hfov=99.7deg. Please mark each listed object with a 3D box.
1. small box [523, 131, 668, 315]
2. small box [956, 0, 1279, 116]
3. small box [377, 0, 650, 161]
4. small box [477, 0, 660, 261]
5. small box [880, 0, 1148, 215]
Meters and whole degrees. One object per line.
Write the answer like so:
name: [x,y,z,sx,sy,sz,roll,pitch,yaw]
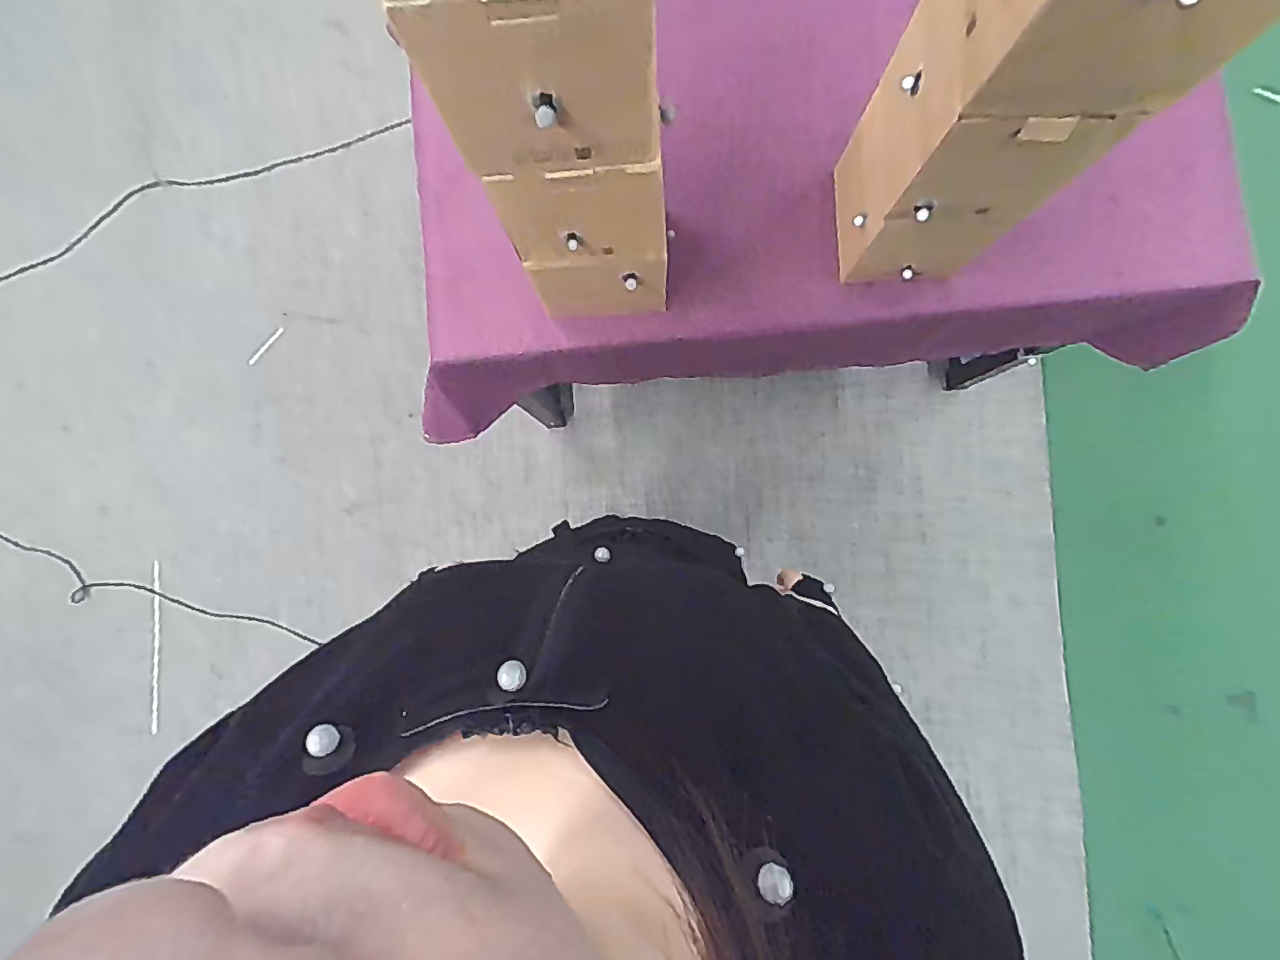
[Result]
small box: [-0.054,-0.335,0.731,0.179,0.176,0.168,-2,85,3]
small box: [0.354,-0.396,0.387,0.179,0.176,0.168,2,88,2]
small box: [-0.080,-0.369,0.406,0.168,0.176,0.179,-4,87,2]
small box: [-0.064,-0.355,0.569,0.168,0.176,0.179,-2,87,2]
small box: [0.359,-0.392,0.550,0.168,0.176,0.179,1,86,3]
